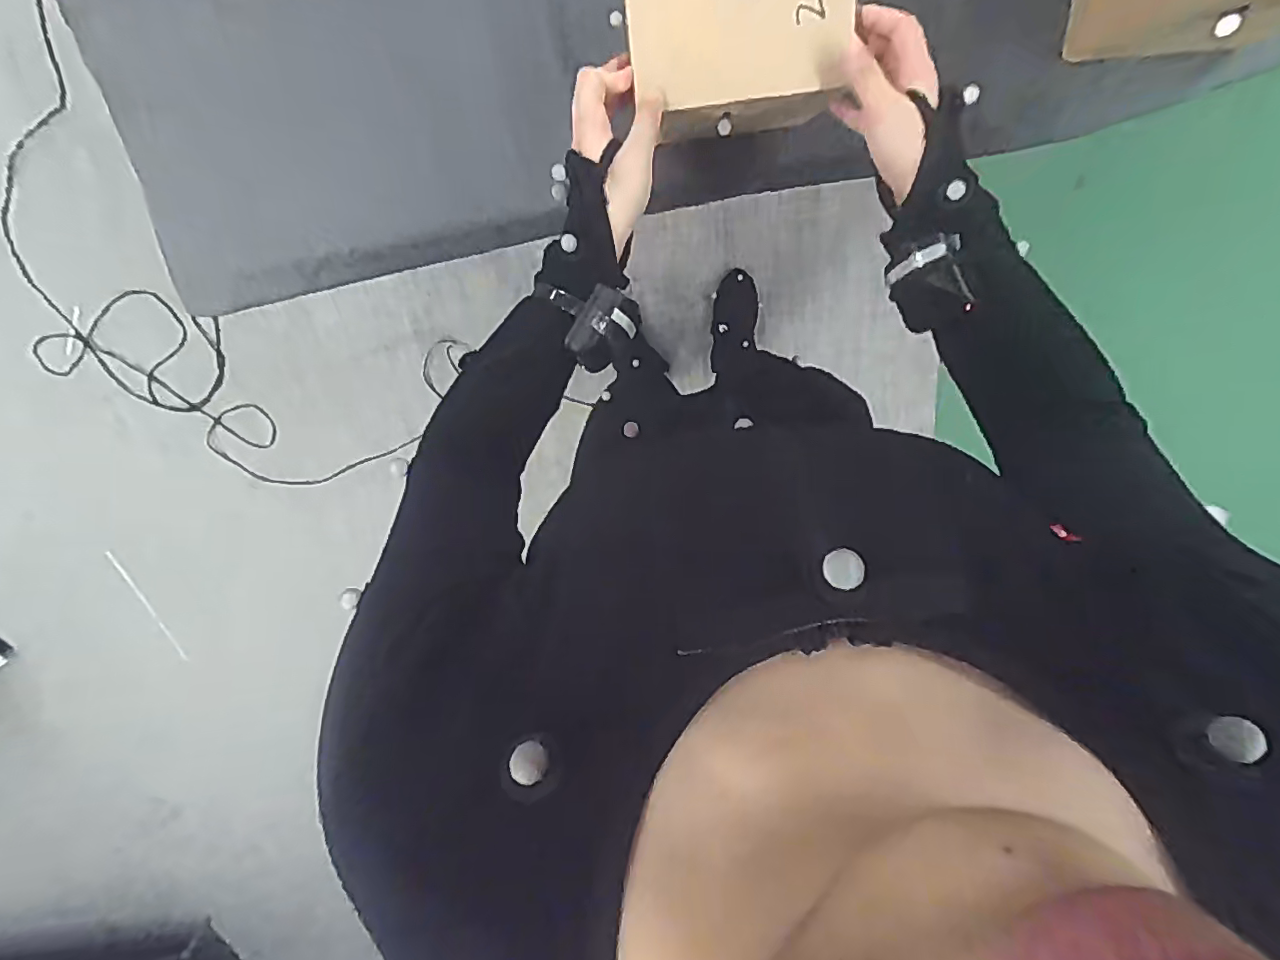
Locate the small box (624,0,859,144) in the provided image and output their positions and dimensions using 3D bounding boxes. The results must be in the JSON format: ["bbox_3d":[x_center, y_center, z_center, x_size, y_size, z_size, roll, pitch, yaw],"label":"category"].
[{"bbox_3d":[0.078,-0.404,0.470,0.179,0.176,0.168,-5,116,4],"label":"small box"}]

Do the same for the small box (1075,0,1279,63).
[{"bbox_3d":[0.502,-0.461,0.430,0.179,0.176,0.168,-3,113,4],"label":"small box"}]
